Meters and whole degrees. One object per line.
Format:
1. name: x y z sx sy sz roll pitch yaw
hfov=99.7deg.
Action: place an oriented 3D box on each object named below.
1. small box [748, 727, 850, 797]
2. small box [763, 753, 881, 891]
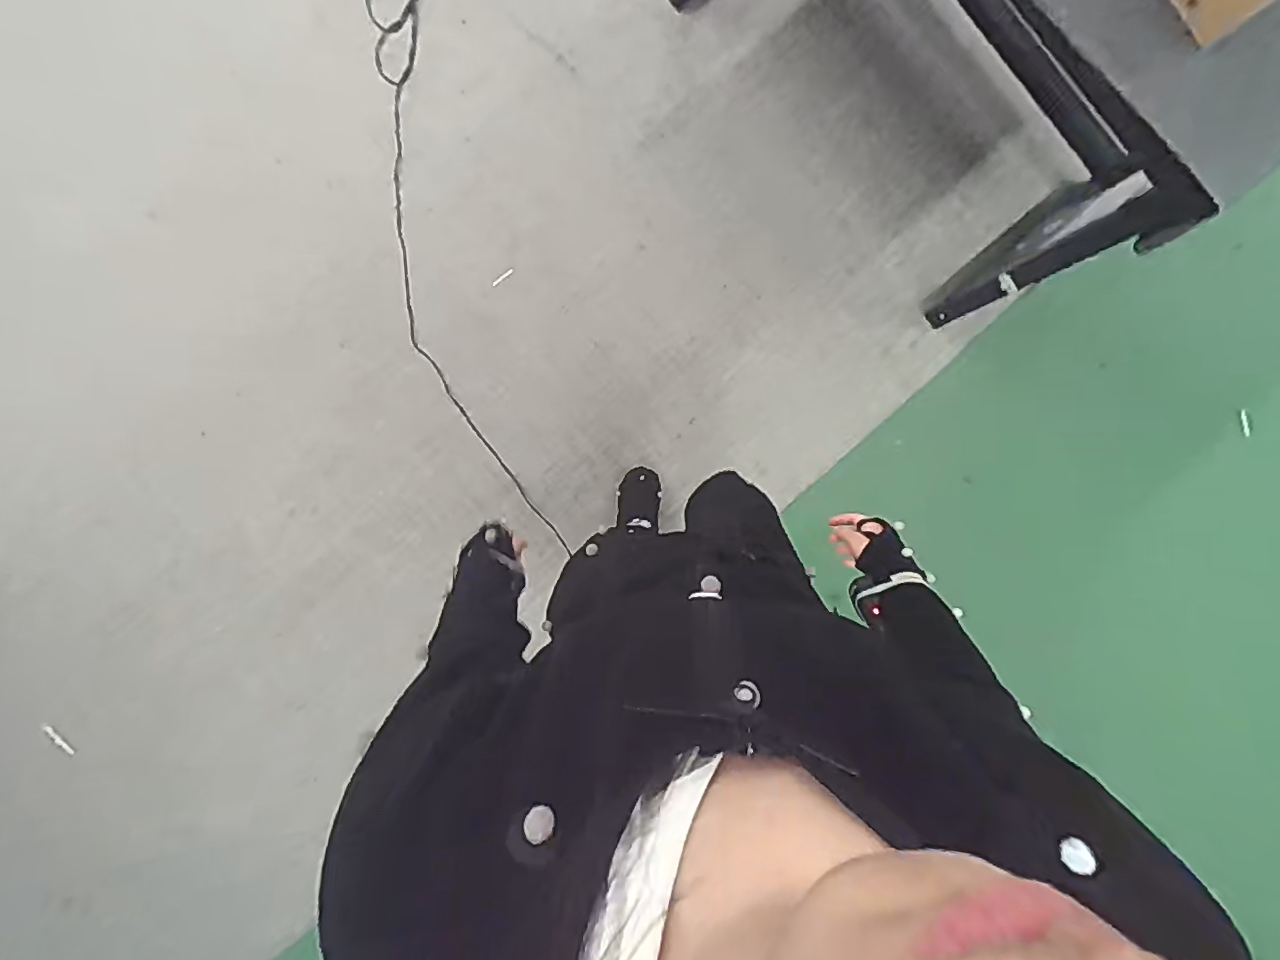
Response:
1. small box: 0.412 0.791 1.438 0.168 0.176 0.179 -41 92 0
2. small box: 0.419 0.792 1.272 0.168 0.176 0.179 -39 92 -1
